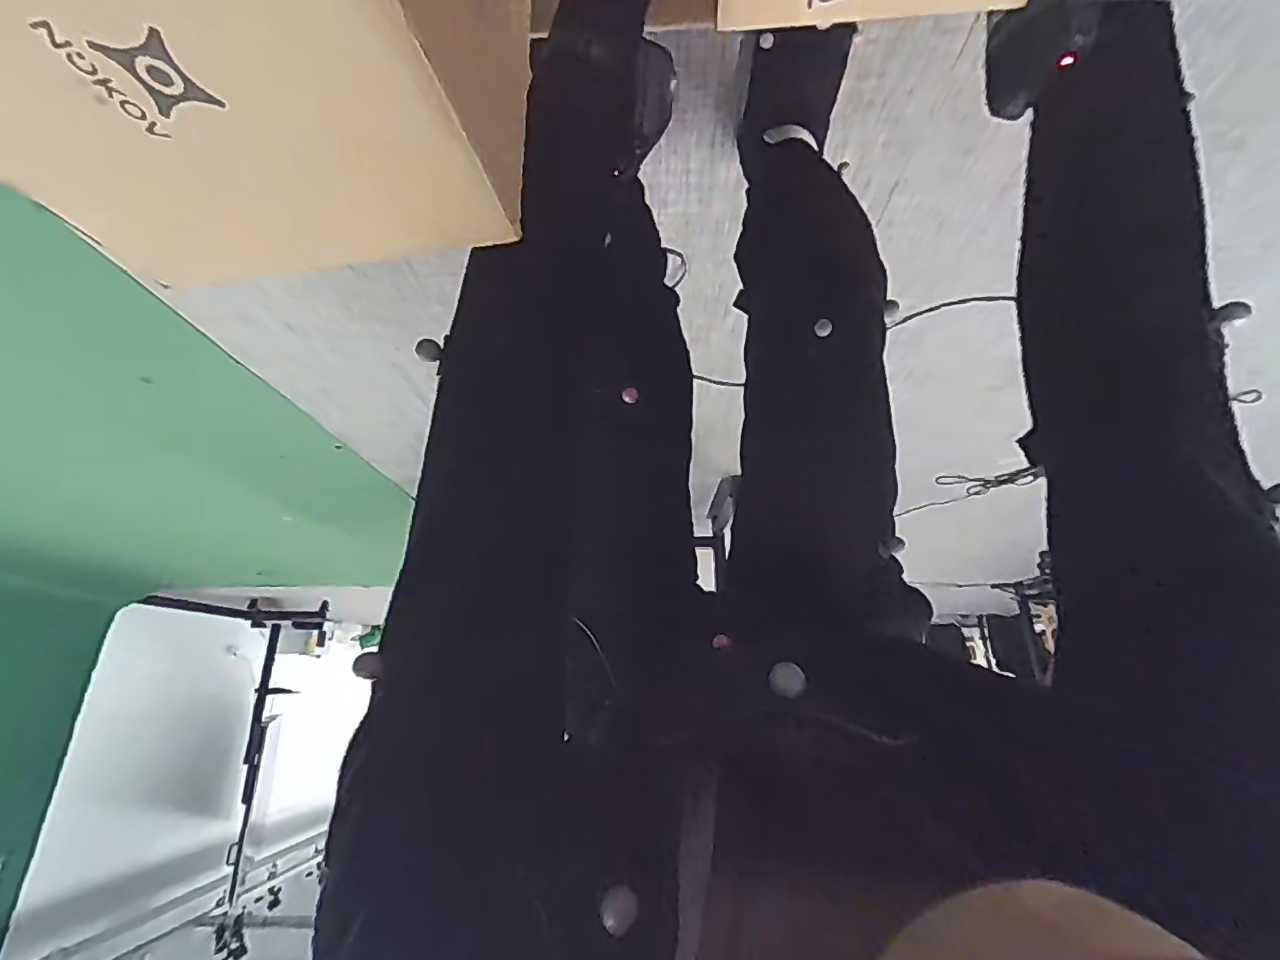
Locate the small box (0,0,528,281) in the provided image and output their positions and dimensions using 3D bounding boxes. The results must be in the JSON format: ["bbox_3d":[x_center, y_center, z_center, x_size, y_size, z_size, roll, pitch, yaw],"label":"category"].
[{"bbox_3d":[-0.149,-0.202,0.193,0.179,0.176,0.168,-4,161,9],"label":"small box"}]

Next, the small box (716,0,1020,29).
[{"bbox_3d":[0.116,-0.358,0.243,0.168,0.176,0.179,-1,159,3],"label":"small box"}]
